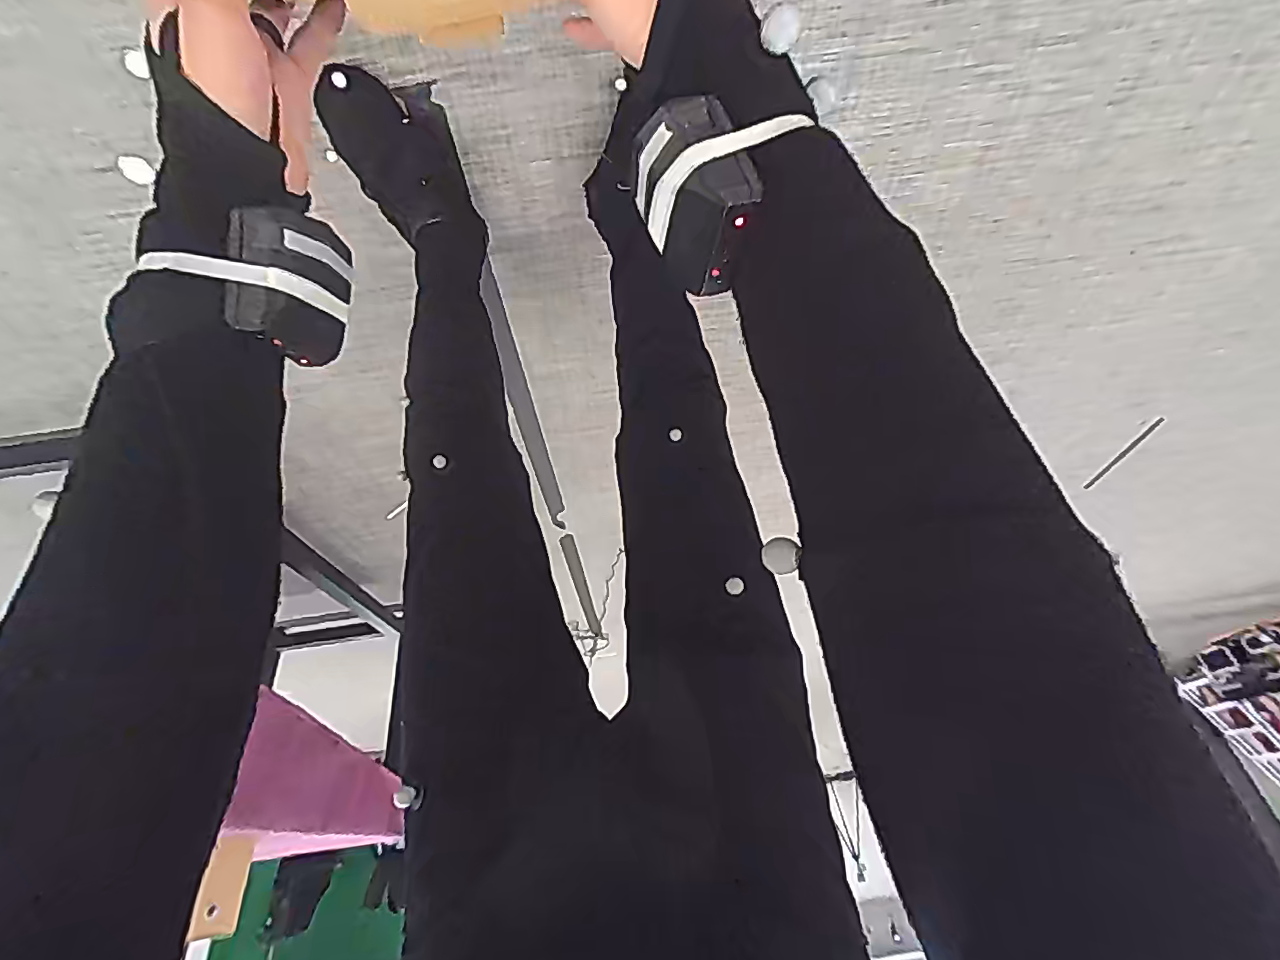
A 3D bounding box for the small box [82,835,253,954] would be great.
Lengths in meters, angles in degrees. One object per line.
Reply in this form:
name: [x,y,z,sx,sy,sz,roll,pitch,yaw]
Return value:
small box: [-0.932,0.825,1.091,0.168,0.176,0.179,-10,145,2]
